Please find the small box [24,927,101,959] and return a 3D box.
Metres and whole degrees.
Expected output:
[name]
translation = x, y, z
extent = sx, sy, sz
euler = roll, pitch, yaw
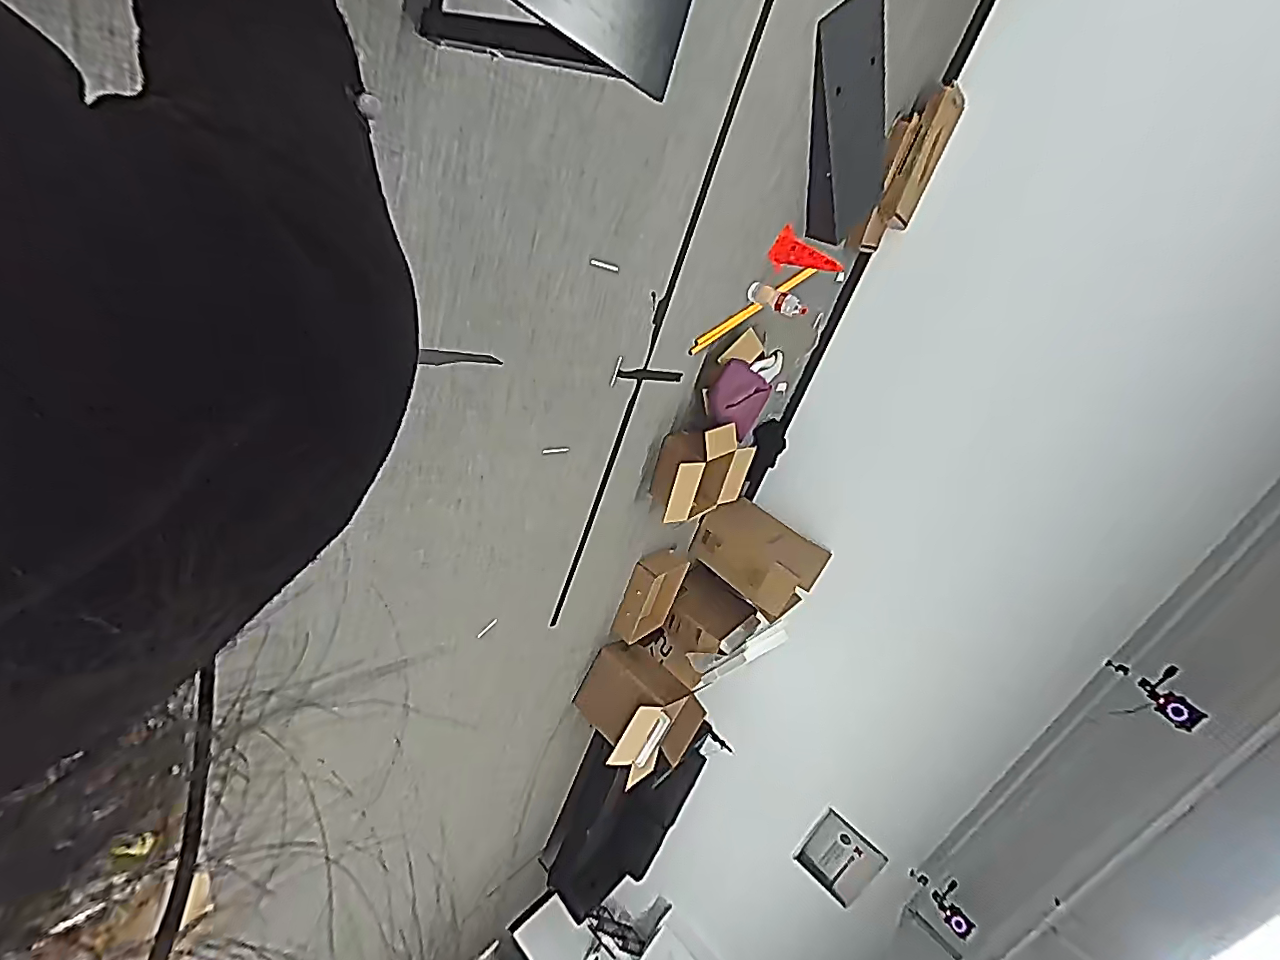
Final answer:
[small box]
translation = -1.294, 1.145, 1.173
extent = 0.179, 0.176, 0.168
euler = -18, 131, -46
